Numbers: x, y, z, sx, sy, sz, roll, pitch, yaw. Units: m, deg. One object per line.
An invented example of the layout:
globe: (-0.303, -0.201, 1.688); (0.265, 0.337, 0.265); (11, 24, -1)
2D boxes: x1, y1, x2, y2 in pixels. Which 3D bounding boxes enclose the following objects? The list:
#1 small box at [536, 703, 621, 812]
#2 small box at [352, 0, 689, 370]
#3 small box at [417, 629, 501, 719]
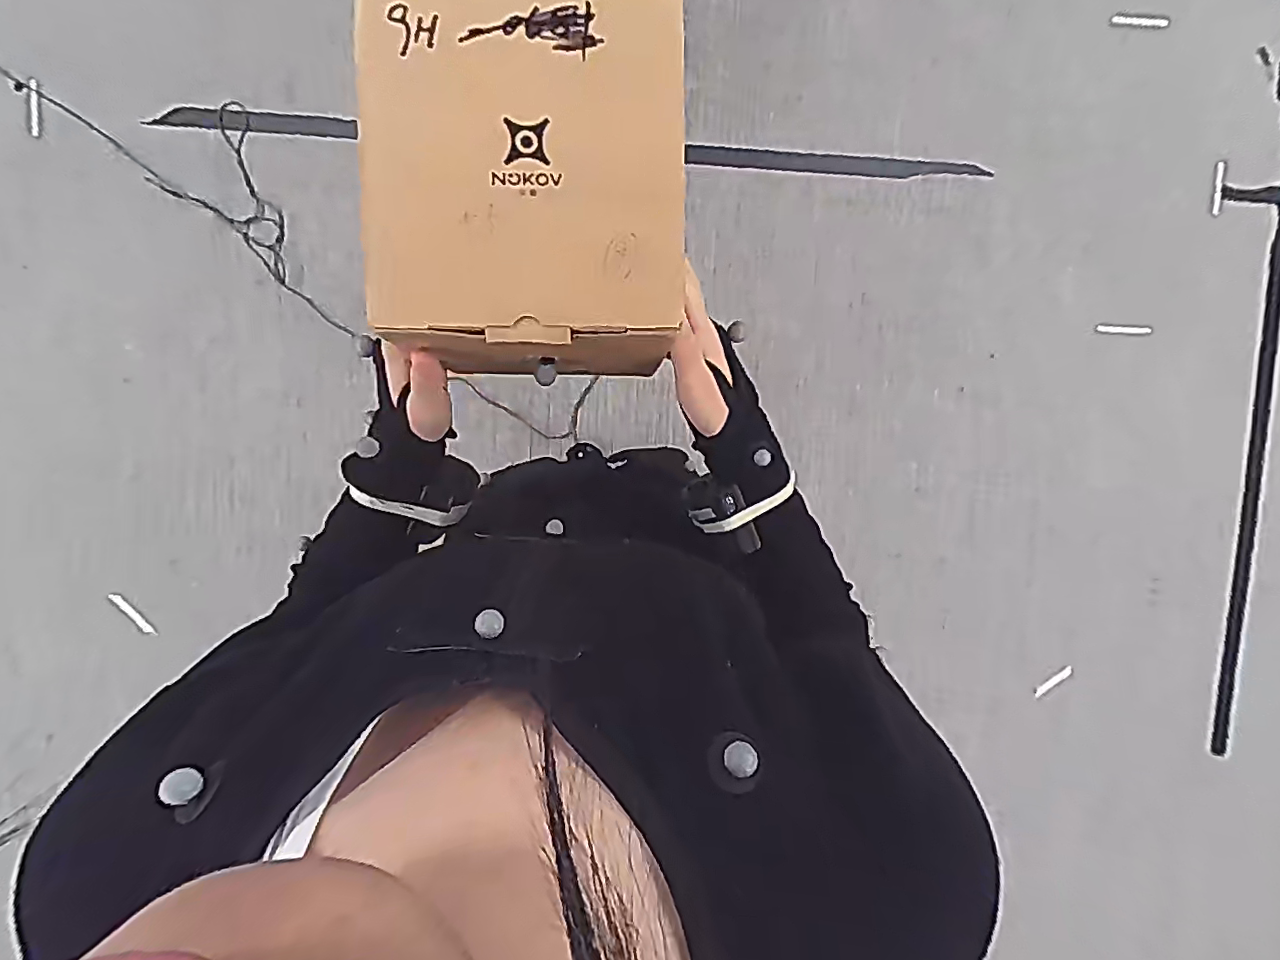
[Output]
small box: (-0.141, 0.644, 1.274); (0.179, 0.176, 0.168); (5, 94, -4)
small box: (-0.062, -0.167, 0.350); (0.168, 0.176, 0.179); (0, 94, -4)
small box: (-0.467, 0.499, 1.417); (0.168, 0.176, 0.179); (-4, 95, -2)
